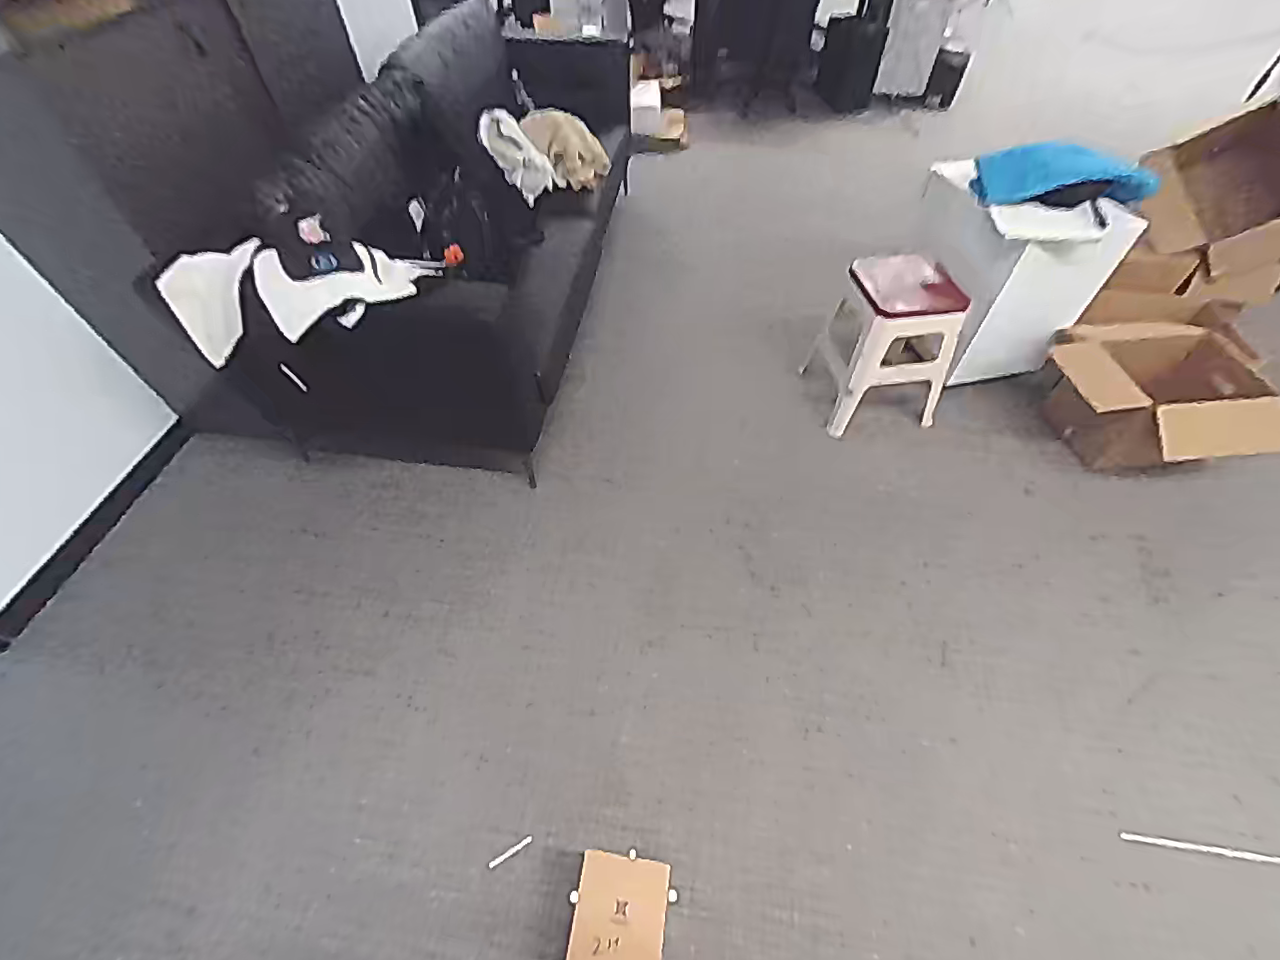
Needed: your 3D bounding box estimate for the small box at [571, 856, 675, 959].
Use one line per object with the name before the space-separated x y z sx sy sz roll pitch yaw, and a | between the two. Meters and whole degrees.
small box | -0.029 0.841 1.028 0.168 0.176 0.179 6 52 6
